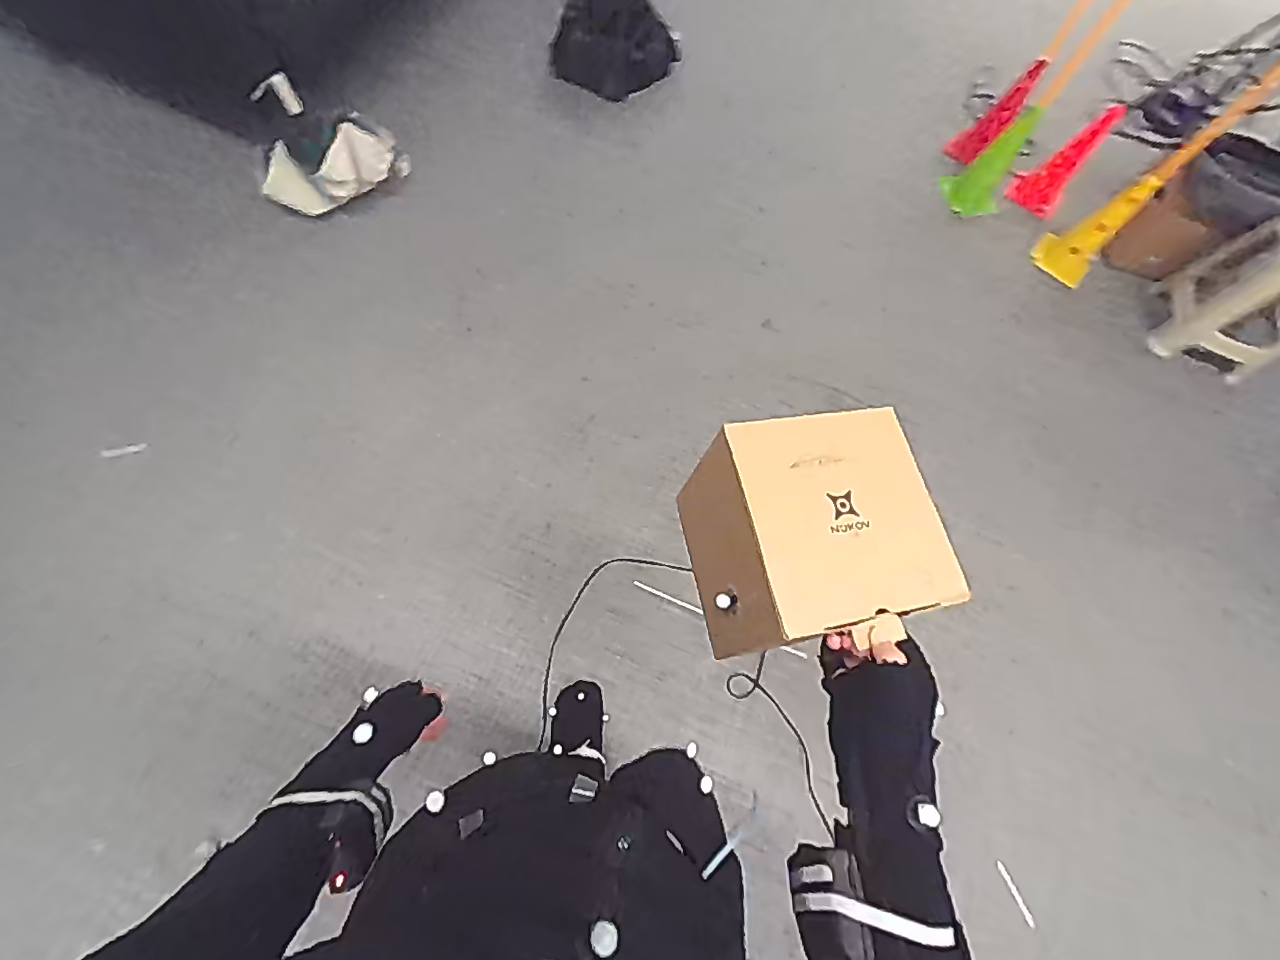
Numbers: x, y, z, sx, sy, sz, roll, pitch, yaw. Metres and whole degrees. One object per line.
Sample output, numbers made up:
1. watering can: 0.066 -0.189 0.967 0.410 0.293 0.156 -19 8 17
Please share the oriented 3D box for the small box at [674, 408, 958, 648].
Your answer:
1. small box: 0.142 0.054 0.508 0.168 0.176 0.179 -8 69 -15
